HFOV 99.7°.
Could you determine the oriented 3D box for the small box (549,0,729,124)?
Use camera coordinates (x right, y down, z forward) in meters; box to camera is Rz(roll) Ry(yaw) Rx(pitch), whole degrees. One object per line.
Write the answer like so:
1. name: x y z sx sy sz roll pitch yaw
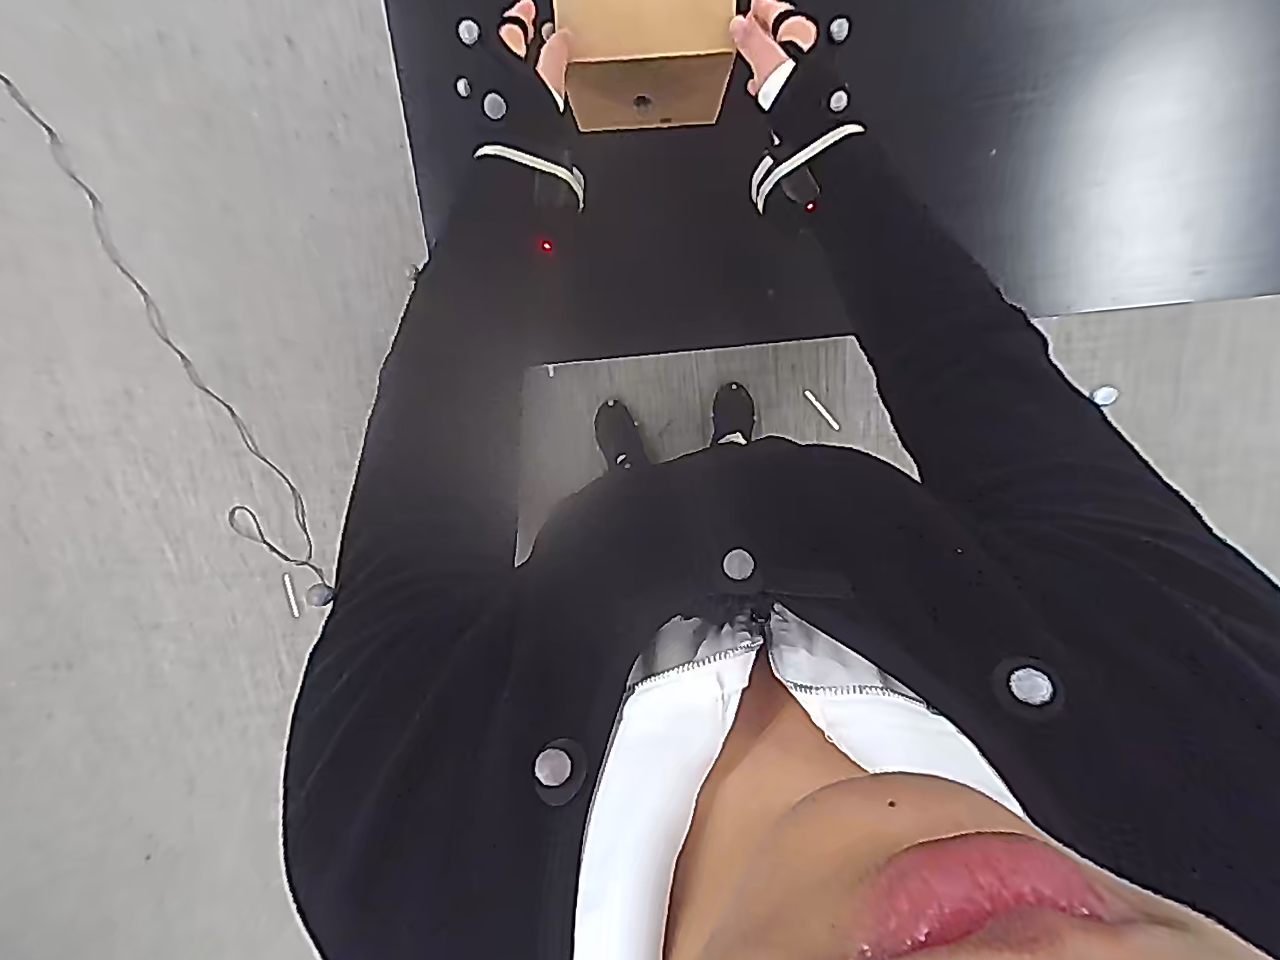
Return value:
1. small box: 0.001 -0.490 0.554 0.168 0.176 0.179 -3 103 2
